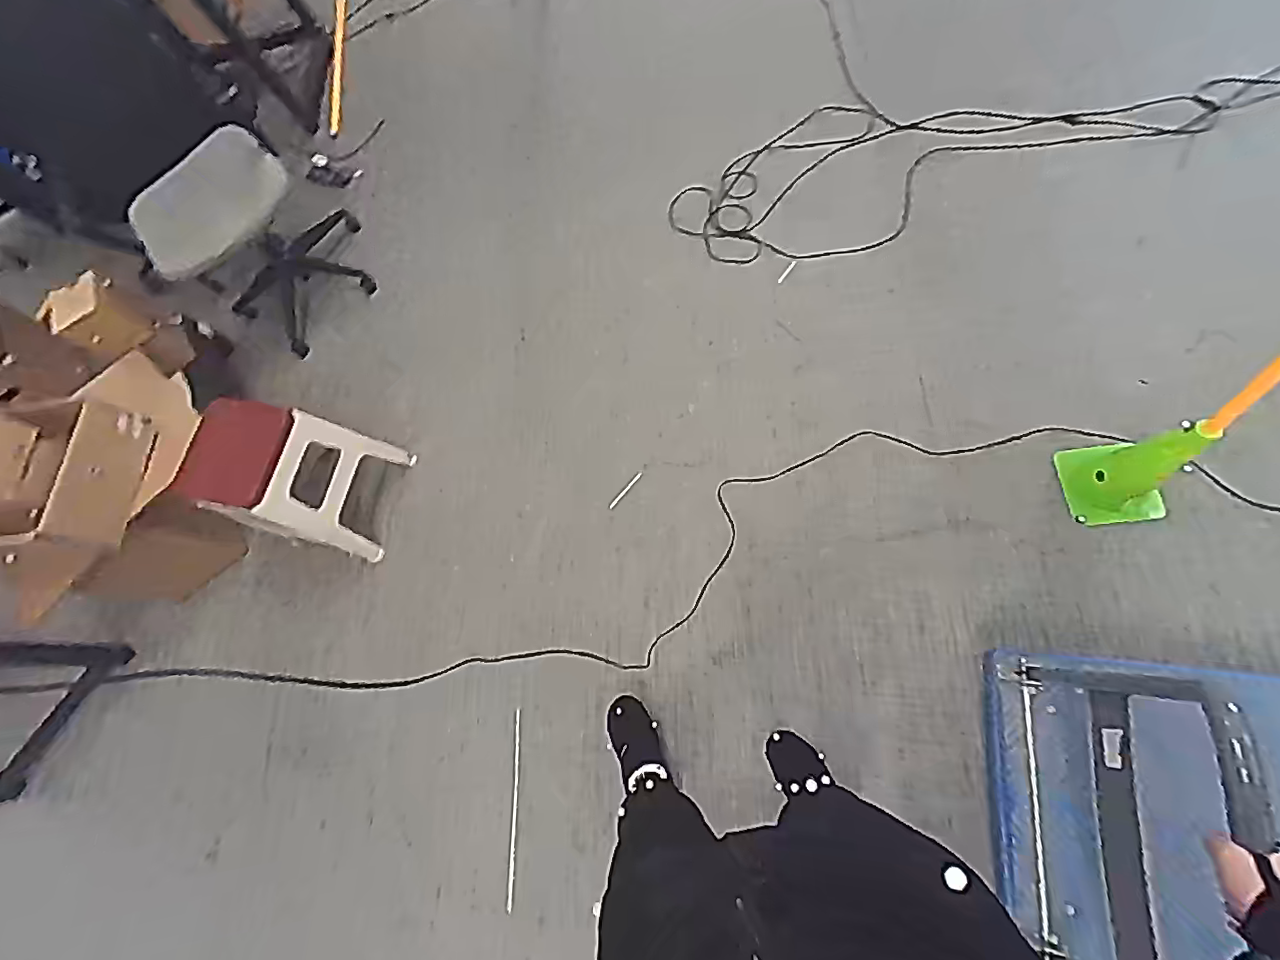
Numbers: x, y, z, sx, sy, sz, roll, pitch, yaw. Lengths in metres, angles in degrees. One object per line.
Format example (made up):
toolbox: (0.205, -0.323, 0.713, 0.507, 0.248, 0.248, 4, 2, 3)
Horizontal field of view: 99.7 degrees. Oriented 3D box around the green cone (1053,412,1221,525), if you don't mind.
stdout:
green cone: (1.127, -0.049, 1.188, 0.200, 0.368, 0.202, -9, 69, 11)
